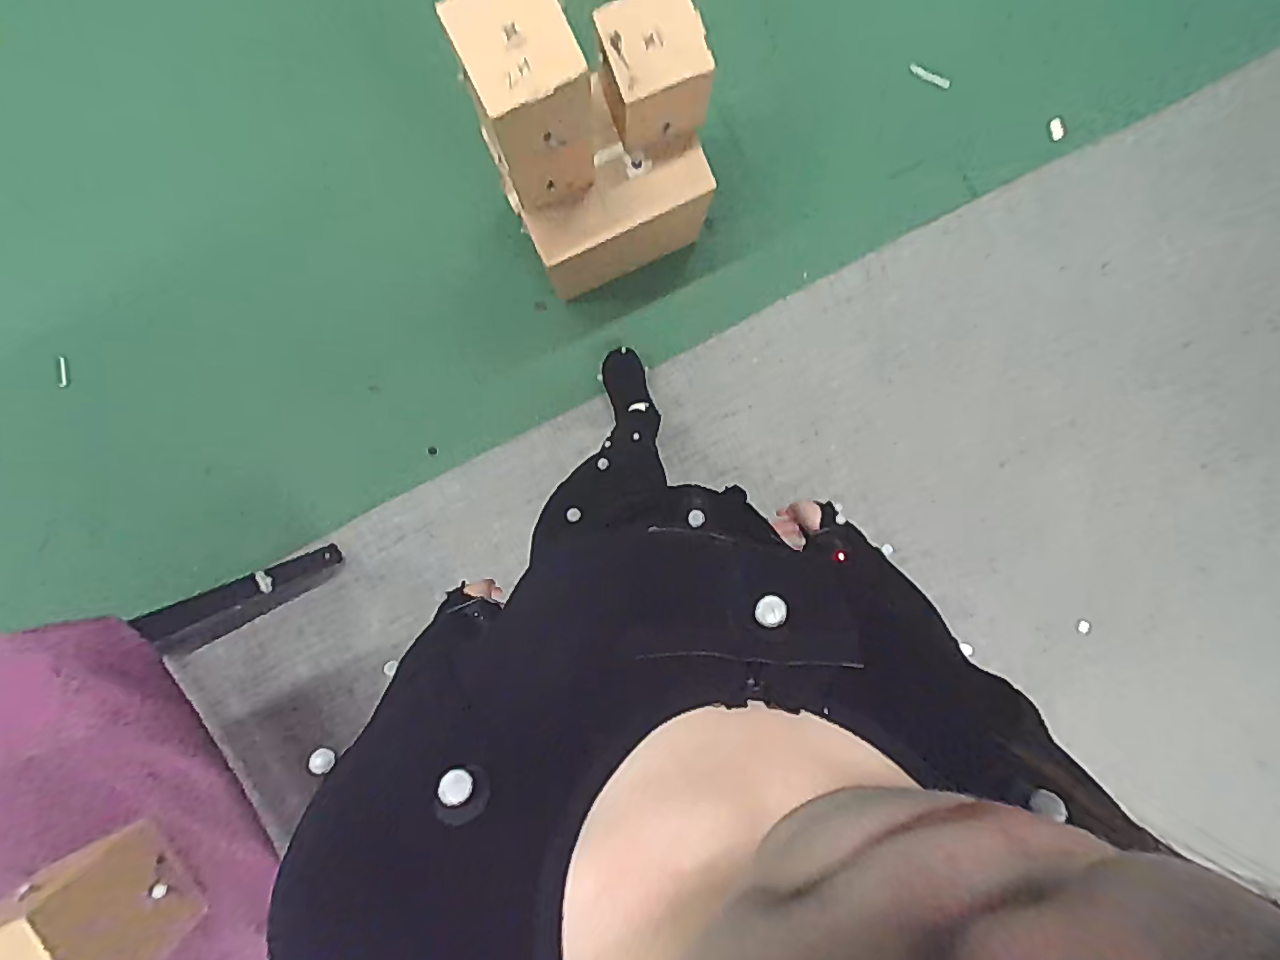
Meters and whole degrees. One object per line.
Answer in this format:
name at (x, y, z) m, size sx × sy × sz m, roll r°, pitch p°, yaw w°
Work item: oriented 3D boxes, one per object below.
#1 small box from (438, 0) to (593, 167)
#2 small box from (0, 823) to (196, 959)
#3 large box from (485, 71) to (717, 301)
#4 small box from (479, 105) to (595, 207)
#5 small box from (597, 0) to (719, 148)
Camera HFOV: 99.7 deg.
small box at (-0.185, -0.647, 0.858) m, size 0.168 × 0.176 × 0.179 m, roll -26°, pitch 95°, yaw 0°
small box at (-0.732, 0.588, 0.682) m, size 0.179 × 0.176 × 0.168 m, roll -27°, pitch 95°, yaw 0°
large box at (-0.084, -0.679, 1.267) m, size 0.408 × 0.320 × 0.320 m, roll -26°, pitch 95°, yaw 0°
small box at (-0.194, -0.660, 1.022) m, size 0.168 × 0.176 × 0.179 m, roll -25°, pitch 95°, yaw 0°
small box at (0.028, -0.772, 1.017) m, size 0.179 × 0.176 × 0.168 m, roll -20°, pitch 94°, yaw 0°
